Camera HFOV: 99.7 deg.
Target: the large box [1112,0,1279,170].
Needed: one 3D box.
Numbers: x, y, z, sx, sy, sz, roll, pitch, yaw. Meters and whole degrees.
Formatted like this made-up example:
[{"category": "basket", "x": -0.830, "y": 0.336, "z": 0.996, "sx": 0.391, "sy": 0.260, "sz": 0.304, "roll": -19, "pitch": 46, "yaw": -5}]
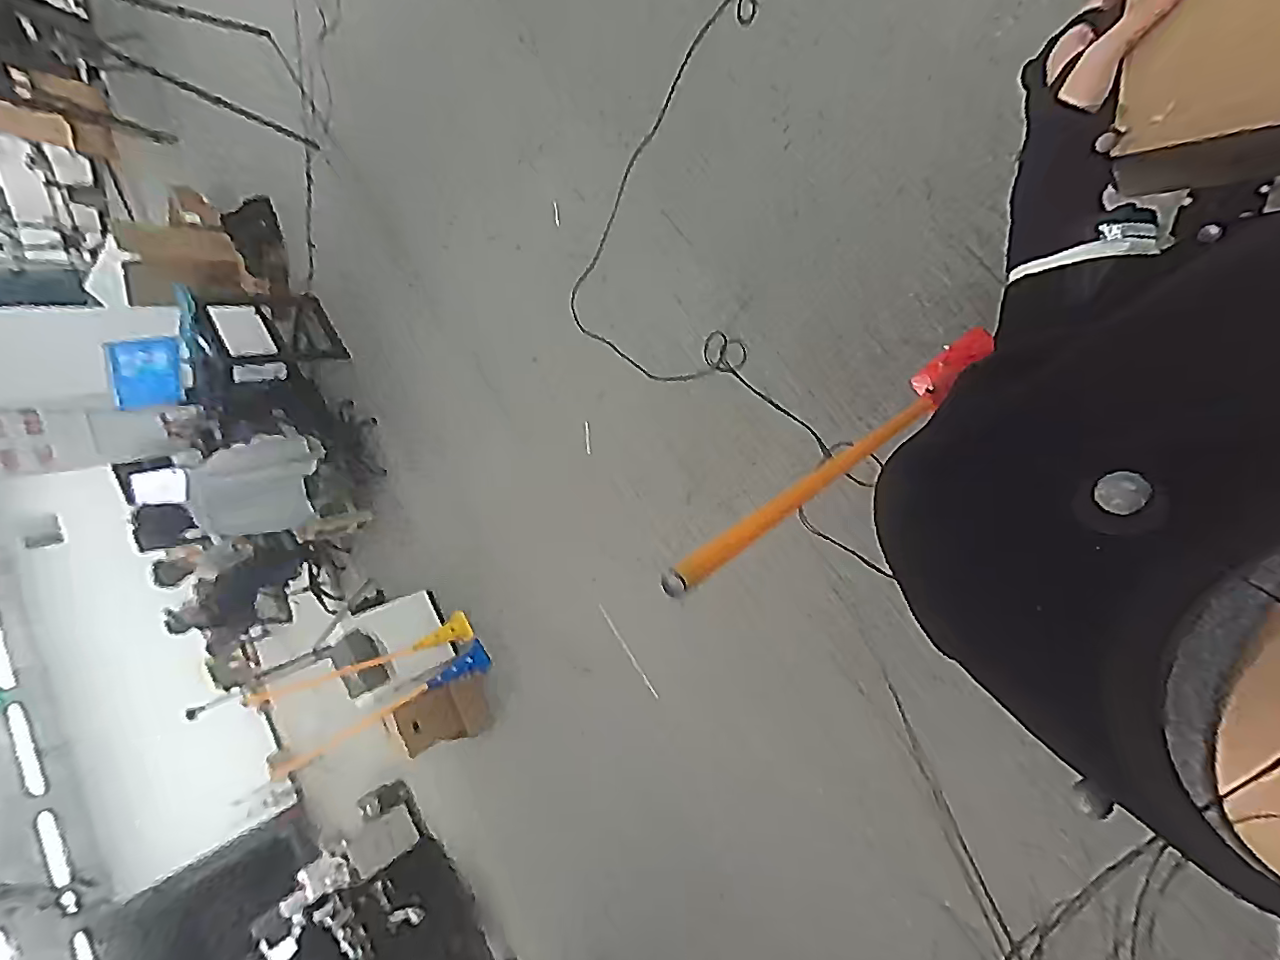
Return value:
[{"category": "large box", "x": 0.585, "y": -0.422, "z": 0.333, "sx": 0.408, "sy": 0.320, "sz": 0.320, "roll": 10, "pitch": 113, "yaw": 41}]
